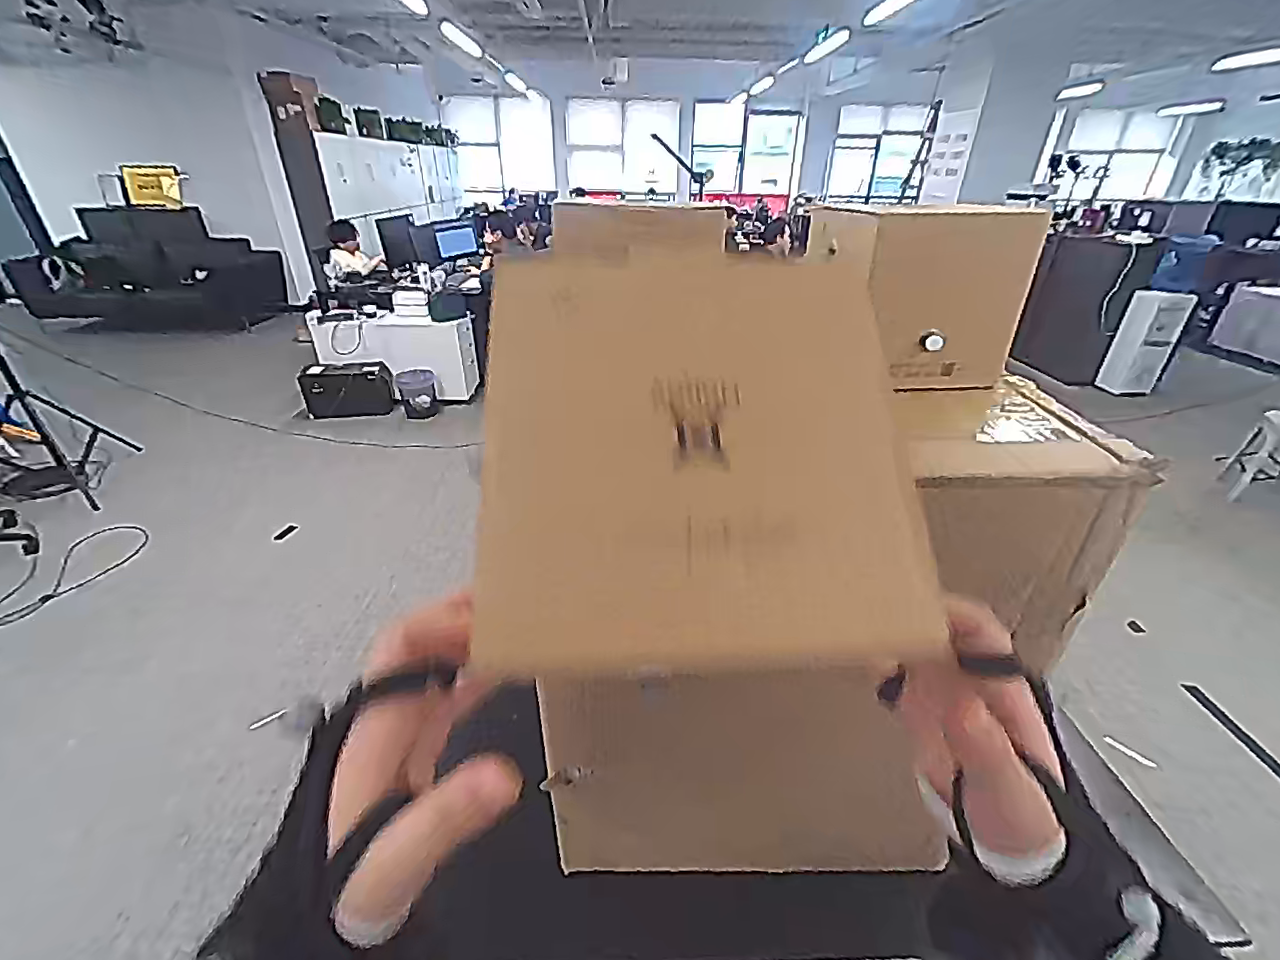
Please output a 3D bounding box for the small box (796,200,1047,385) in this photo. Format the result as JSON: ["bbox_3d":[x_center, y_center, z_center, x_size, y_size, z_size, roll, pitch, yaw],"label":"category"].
[{"bbox_3d":[0.283,-0.211,0.596,0.168,0.176,0.179,-2,29,-3],"label":"small box"}]

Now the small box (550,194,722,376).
[{"bbox_3d":[-0.010,-0.226,0.616,0.168,0.176,0.179,-1,29,-4],"label":"small box"}]
